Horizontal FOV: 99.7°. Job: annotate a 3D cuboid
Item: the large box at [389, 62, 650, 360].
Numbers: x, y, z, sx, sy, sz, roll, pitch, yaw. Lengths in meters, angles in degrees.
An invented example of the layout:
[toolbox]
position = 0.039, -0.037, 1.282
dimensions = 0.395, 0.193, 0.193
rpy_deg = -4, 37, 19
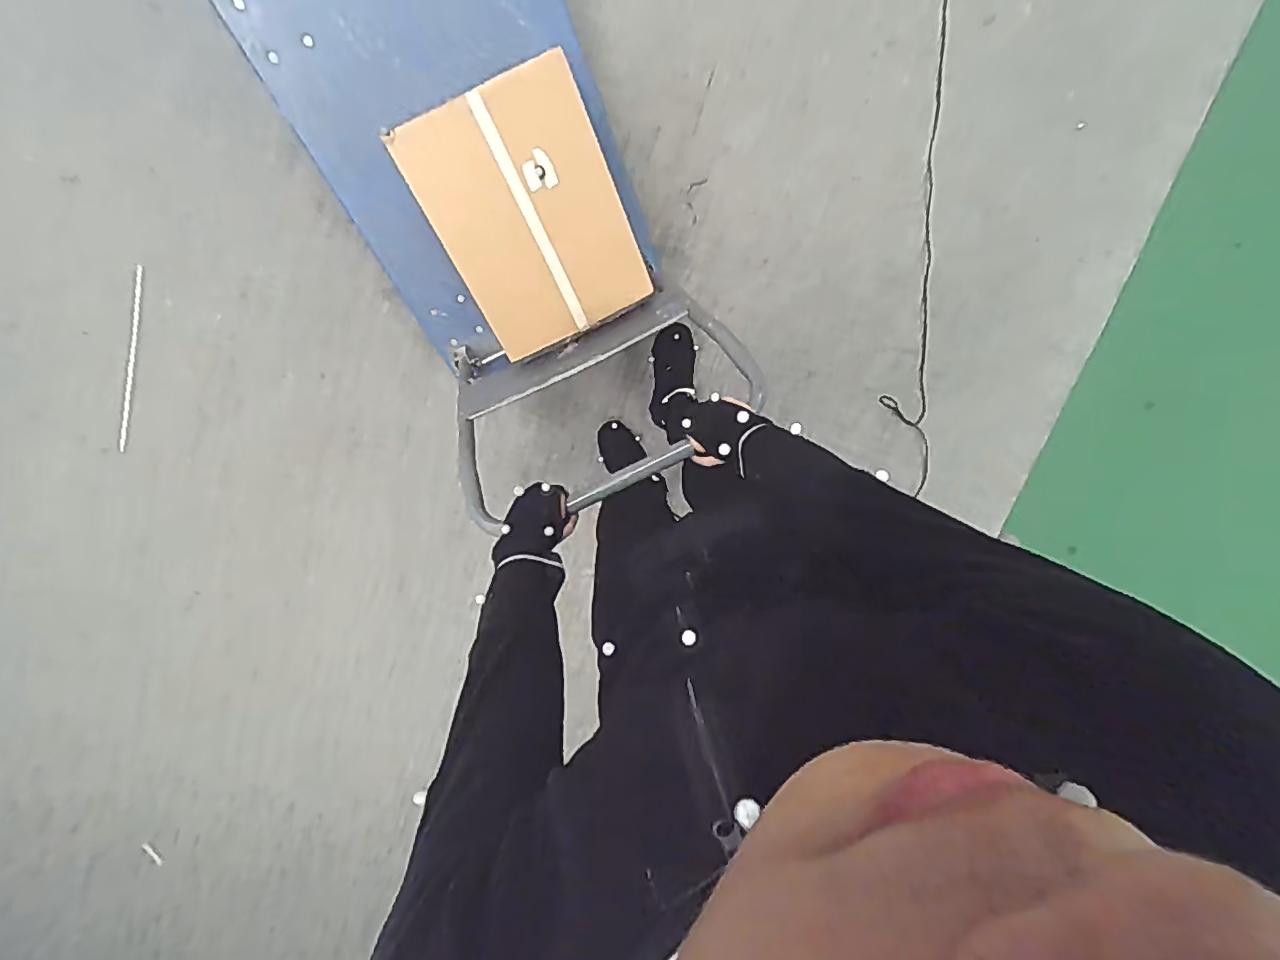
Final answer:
[large box]
position = -0.220, -0.522, 1.088
dimensions = 0.320, 0.320, 0.408
rpy_deg = -26, 123, 1
